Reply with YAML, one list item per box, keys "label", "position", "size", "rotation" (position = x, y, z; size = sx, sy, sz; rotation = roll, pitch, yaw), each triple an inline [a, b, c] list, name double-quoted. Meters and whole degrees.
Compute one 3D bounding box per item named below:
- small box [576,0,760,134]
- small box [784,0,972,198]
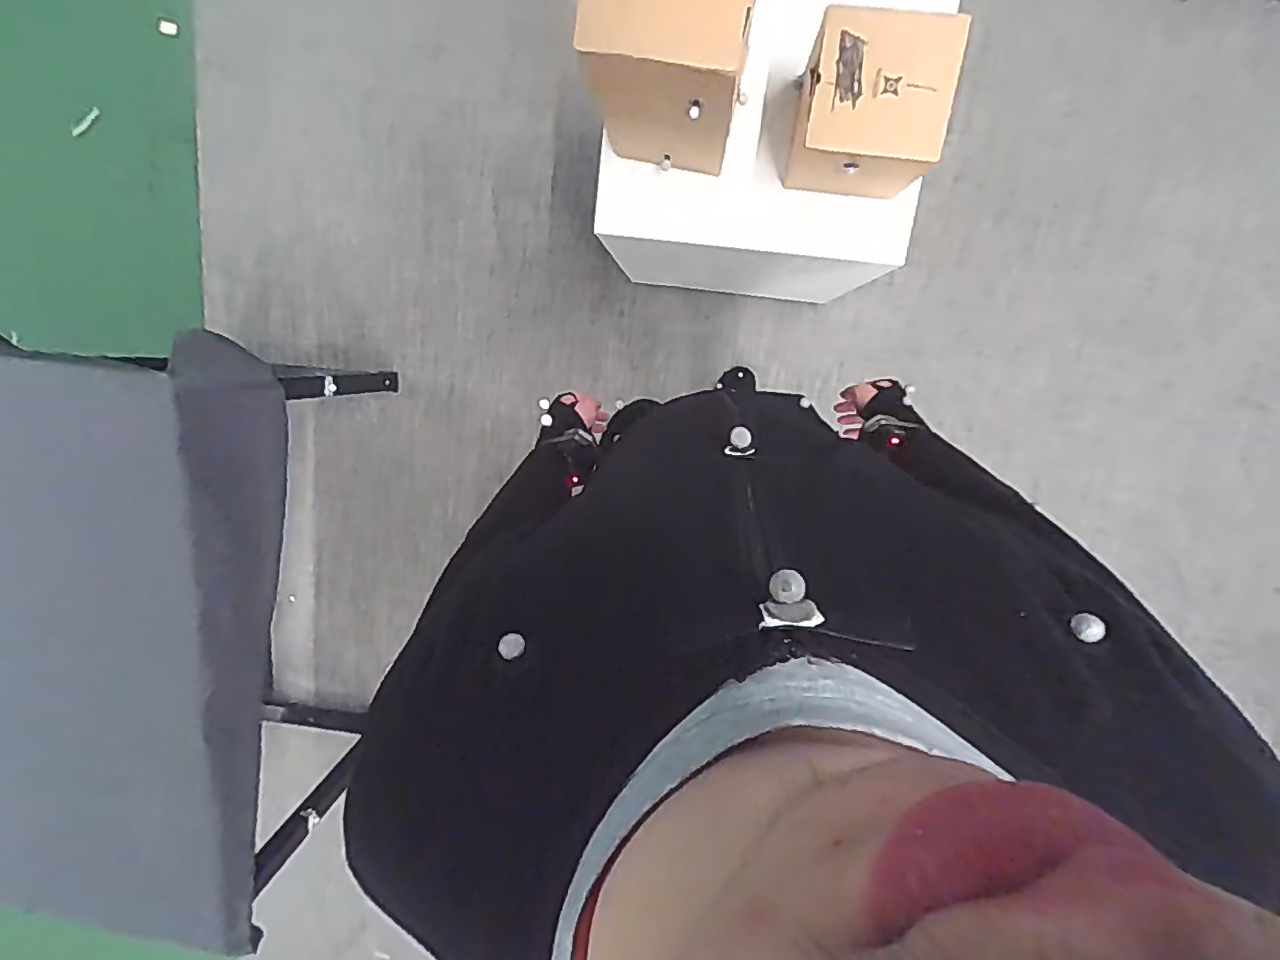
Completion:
- label: "small box"
  position: [0.038, -0.512, 0.596]
  size: [0.179, 0.176, 0.168]
  rotation: [9, 101, 2]
- label: "small box"
  position: [0.309, -0.508, 0.747]
  size: [0.179, 0.176, 0.168]
  rotation: [7, 102, 1]
